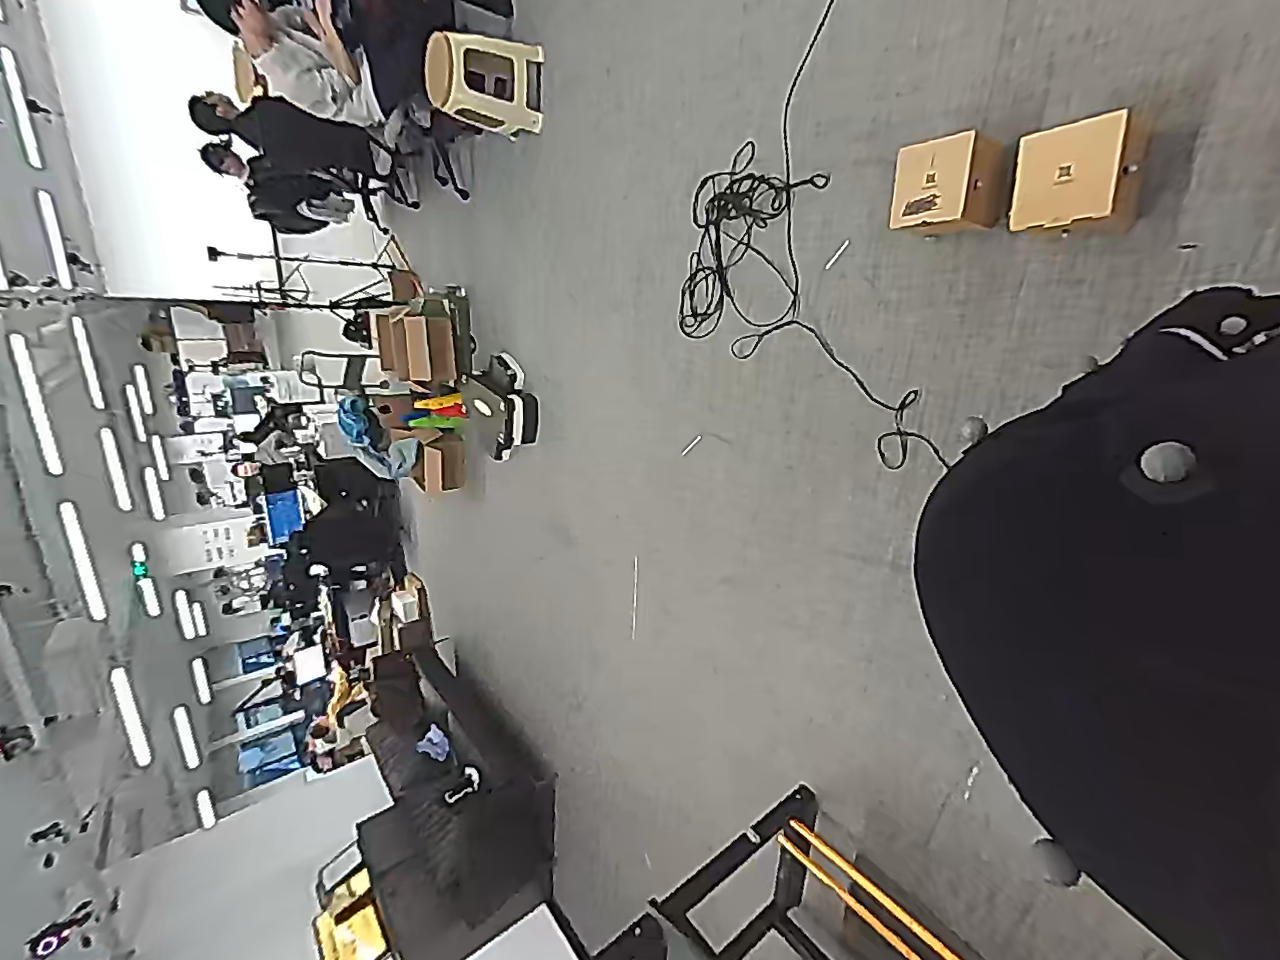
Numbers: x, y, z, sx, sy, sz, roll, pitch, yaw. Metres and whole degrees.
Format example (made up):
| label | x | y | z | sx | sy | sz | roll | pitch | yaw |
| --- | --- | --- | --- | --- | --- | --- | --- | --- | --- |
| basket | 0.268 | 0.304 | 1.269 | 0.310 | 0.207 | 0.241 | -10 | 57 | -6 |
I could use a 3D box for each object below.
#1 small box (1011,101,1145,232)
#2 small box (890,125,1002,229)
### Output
| label | x | y | z | sx | sy | sz | roll | pitch | yaw |
| --- | --- | --- | --- | --- | --- | --- | --- | --- | --- |
| small box | 0.869 | -0.607 | 1.073 | 0.168 | 0.176 | 0.179 | 15 | 113 | 50 |
| small box | 0.709 | -0.689 | 1.254 | 0.168 | 0.176 | 0.179 | 19 | 114 | 49 |
